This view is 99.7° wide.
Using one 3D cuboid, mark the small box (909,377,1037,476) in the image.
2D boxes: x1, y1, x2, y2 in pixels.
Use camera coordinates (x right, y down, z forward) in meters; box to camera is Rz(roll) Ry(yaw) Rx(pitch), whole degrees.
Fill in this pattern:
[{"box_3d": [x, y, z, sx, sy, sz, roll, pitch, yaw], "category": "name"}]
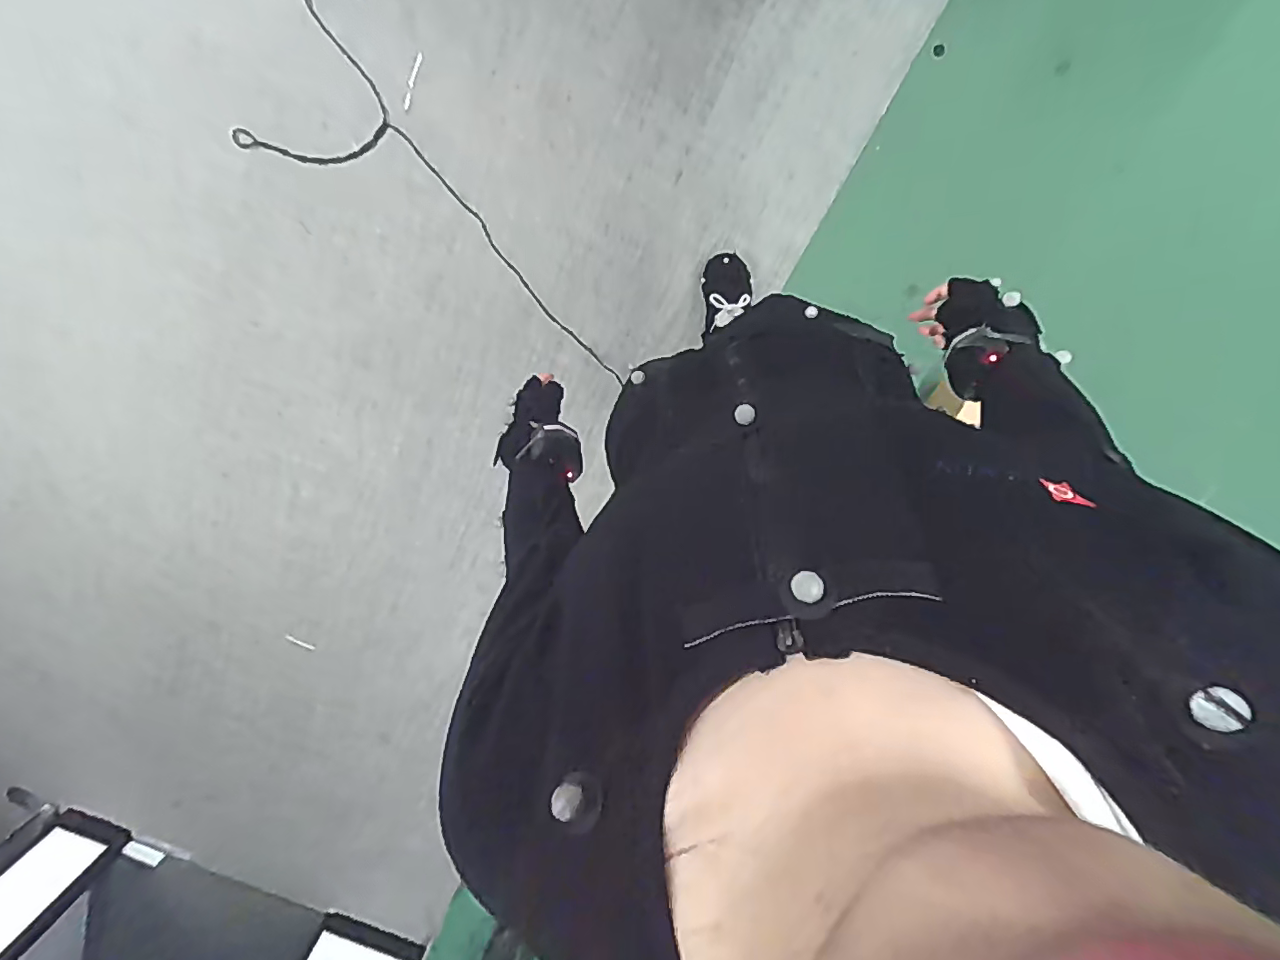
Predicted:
[{"box_3d": [0.804, -0.140, 1.330, 0.179, 0.176, 0.168, 25, 112, -3], "category": "small box"}]
